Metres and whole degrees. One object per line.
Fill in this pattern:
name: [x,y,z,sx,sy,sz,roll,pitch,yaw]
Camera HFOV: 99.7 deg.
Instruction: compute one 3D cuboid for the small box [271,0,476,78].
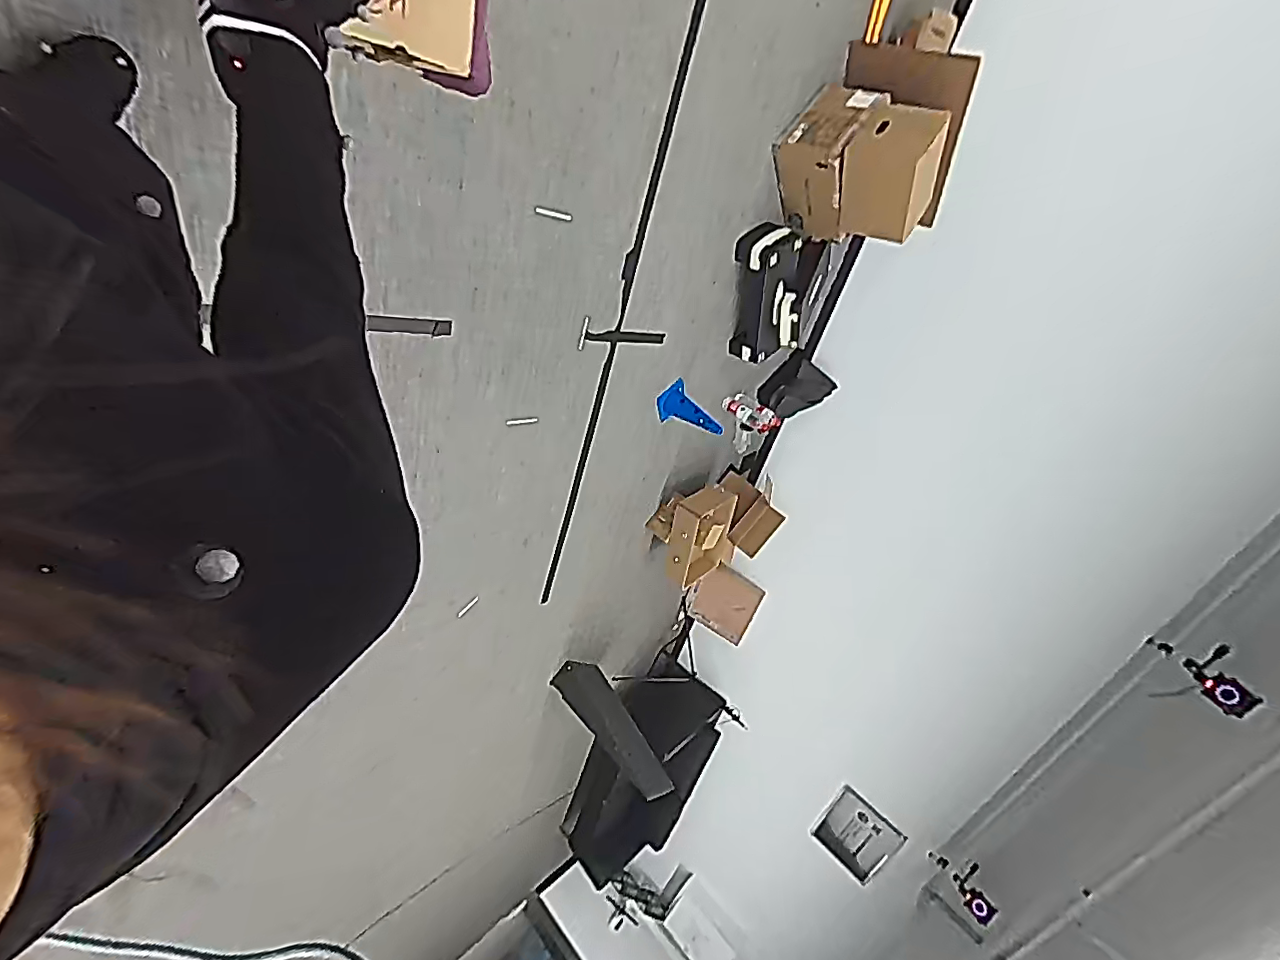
small box: [-0.293,-0.575,0.588,0.168,0.176,0.179,-16,133,-44]
